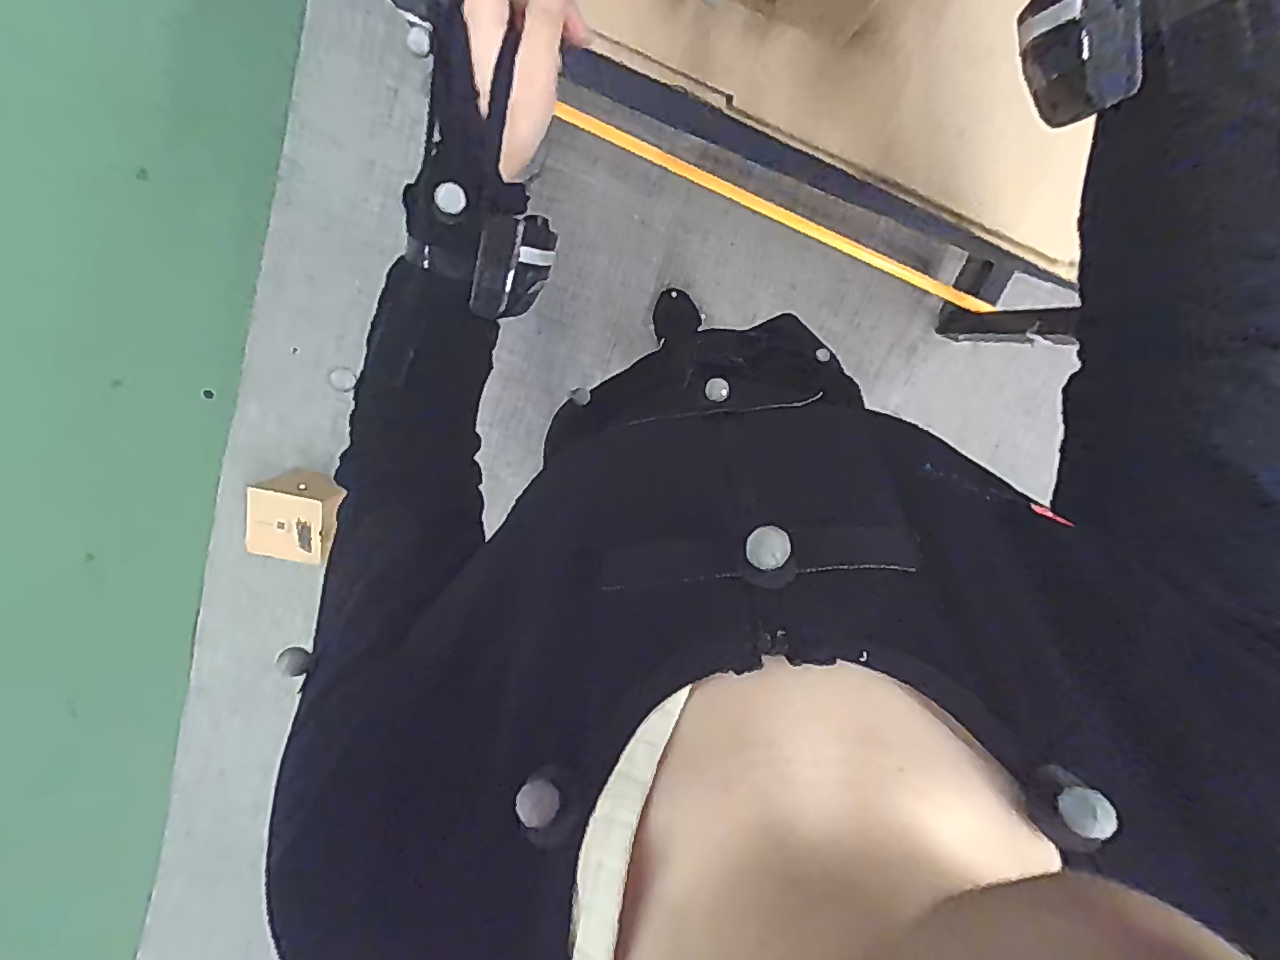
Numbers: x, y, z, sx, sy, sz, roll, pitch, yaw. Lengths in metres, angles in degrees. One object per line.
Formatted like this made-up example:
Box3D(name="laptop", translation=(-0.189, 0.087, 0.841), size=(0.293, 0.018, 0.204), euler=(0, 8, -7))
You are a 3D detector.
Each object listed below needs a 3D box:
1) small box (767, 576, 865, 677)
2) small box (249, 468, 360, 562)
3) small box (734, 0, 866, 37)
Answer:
Box3D(name="small box", translation=(0.445, 0.372, 1.399), size=(0.168, 0.176, 0.179), euler=(16, 105, -4))
Box3D(name="small box", translation=(-0.812, 0.079, 1.322), size=(0.179, 0.176, 0.168), euler=(12, 105, -2))
Box3D(name="small box", translation=(0.086, -0.374, 0.264), size=(0.168, 0.176, 0.179), euler=(20, 113, -4))
